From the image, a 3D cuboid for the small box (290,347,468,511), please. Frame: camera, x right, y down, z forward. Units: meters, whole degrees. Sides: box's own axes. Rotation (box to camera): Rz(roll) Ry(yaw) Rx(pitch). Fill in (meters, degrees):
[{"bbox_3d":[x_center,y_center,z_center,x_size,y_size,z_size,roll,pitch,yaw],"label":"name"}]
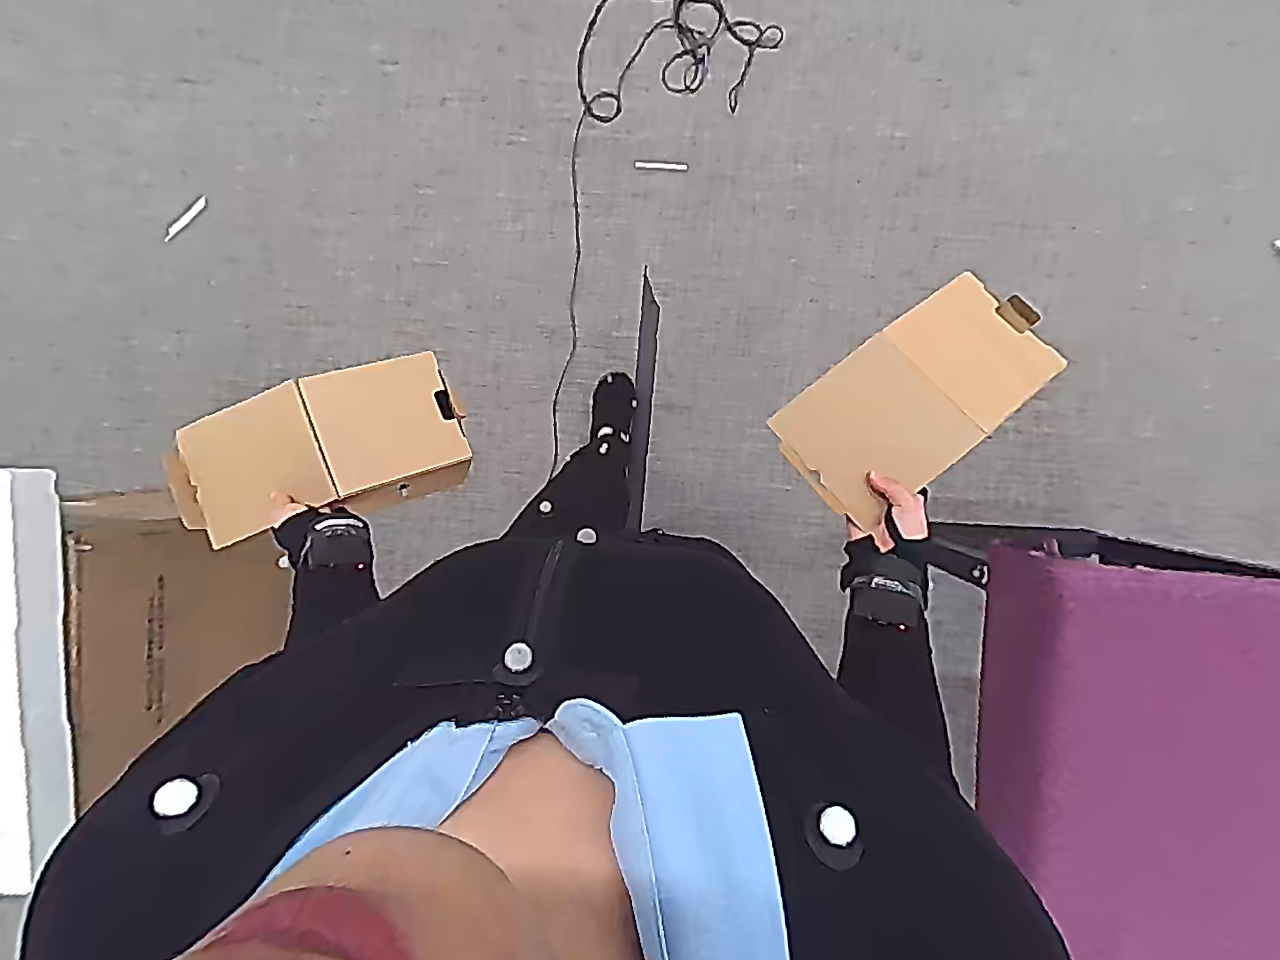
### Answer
[{"bbox_3d":[-0.364,-0.065,0.776,0.179,0.176,0.168,-21,87,-25],"label":"small box"}]
